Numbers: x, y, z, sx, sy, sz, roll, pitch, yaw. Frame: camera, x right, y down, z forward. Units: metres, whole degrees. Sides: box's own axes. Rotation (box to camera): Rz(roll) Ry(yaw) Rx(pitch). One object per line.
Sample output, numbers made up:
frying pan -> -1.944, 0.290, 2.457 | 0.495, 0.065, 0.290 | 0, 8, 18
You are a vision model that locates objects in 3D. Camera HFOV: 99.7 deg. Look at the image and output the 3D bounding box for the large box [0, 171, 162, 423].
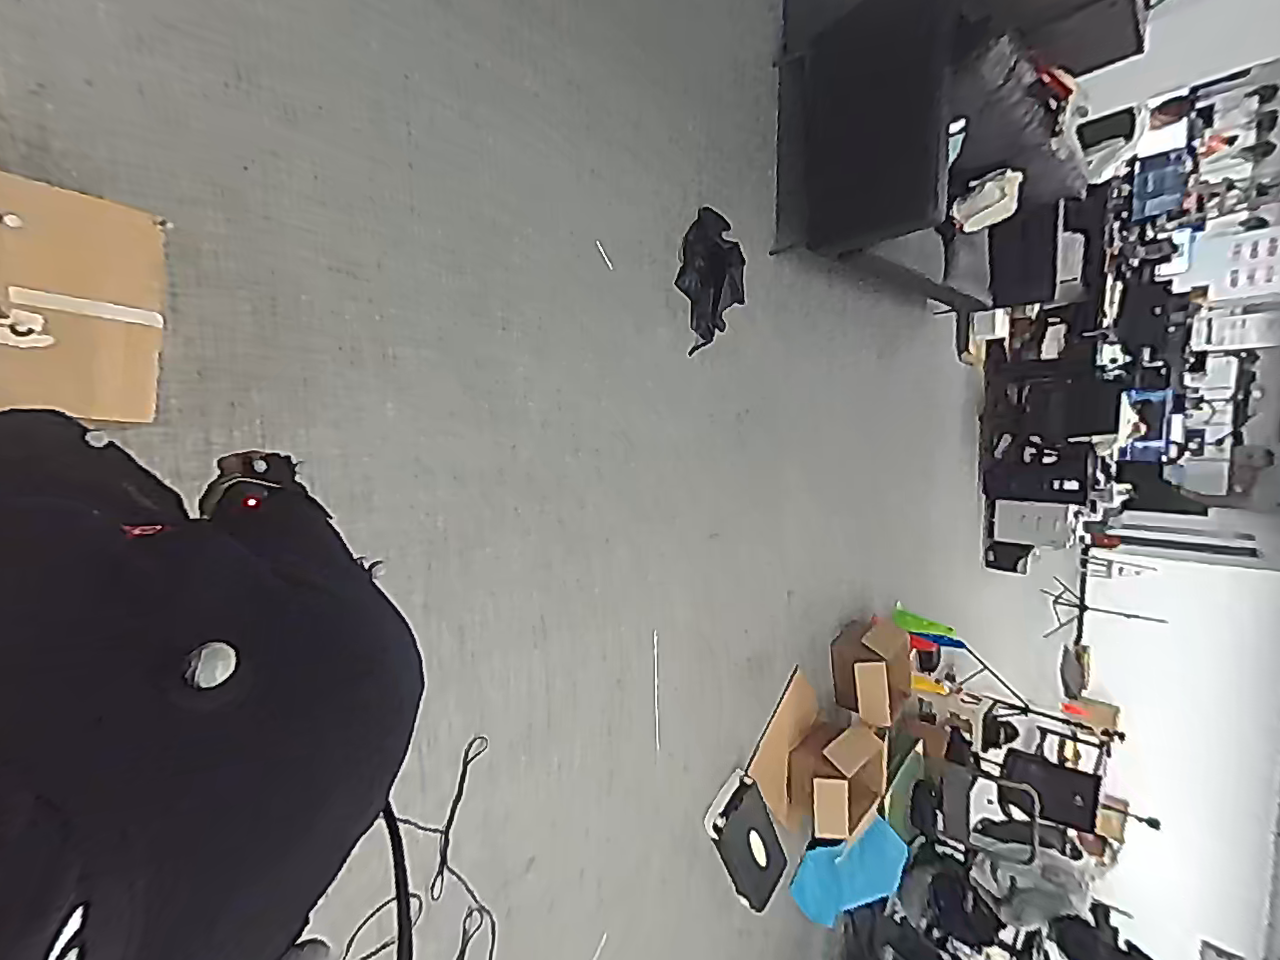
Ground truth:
large box -> -0.970, -0.254, 0.773 | 0.408, 0.320, 0.320 | 2, 92, -46
